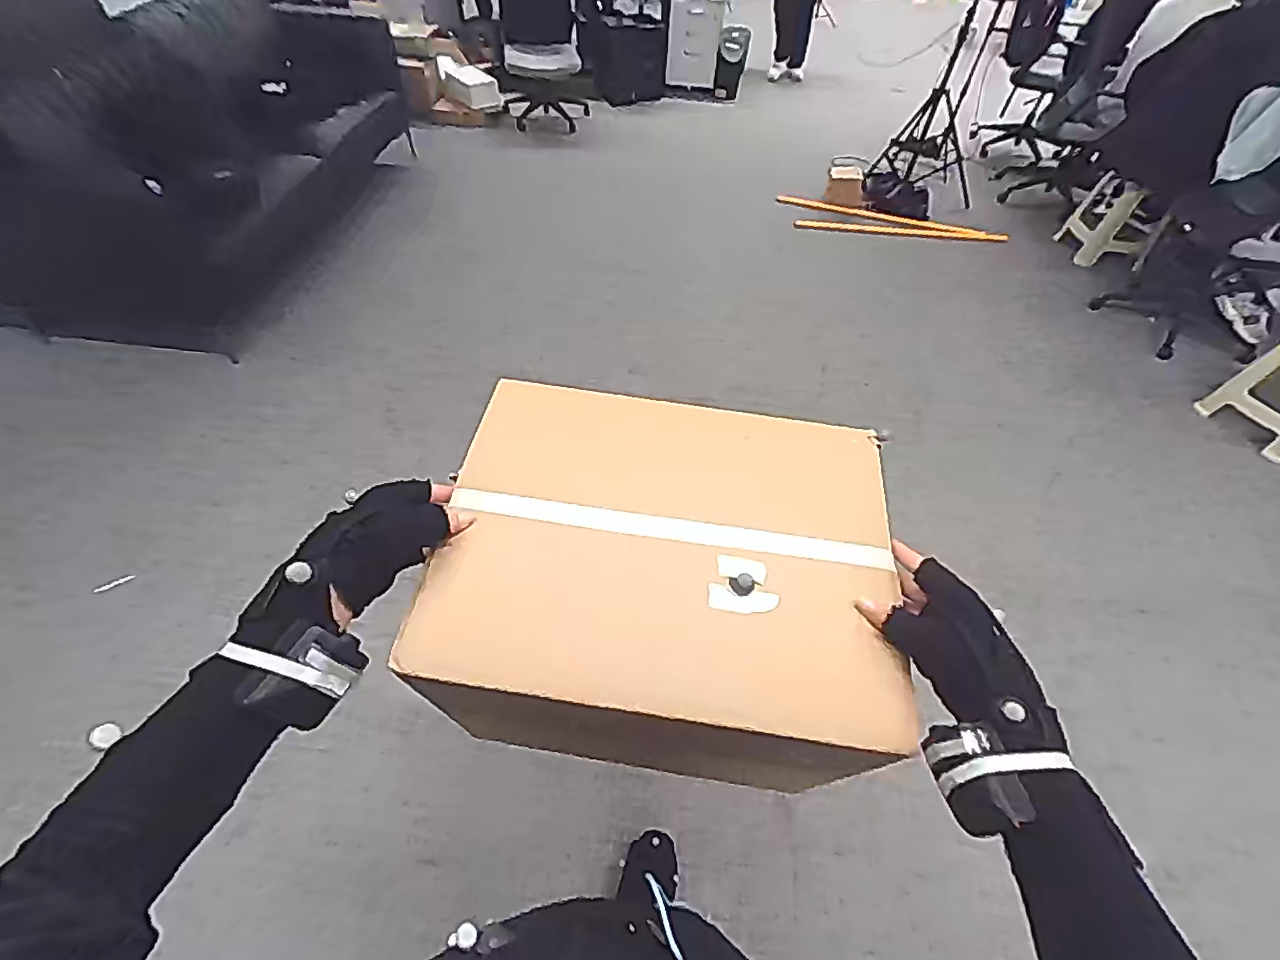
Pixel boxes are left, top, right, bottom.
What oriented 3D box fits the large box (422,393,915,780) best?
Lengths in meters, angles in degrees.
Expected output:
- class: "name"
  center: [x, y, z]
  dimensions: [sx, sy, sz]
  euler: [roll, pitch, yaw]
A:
- class: "large box"
  center: [0.027, 0.136, 0.631]
  dimensions: [0.408, 0.320, 0.320]
  euler: [8, 56, 1]
